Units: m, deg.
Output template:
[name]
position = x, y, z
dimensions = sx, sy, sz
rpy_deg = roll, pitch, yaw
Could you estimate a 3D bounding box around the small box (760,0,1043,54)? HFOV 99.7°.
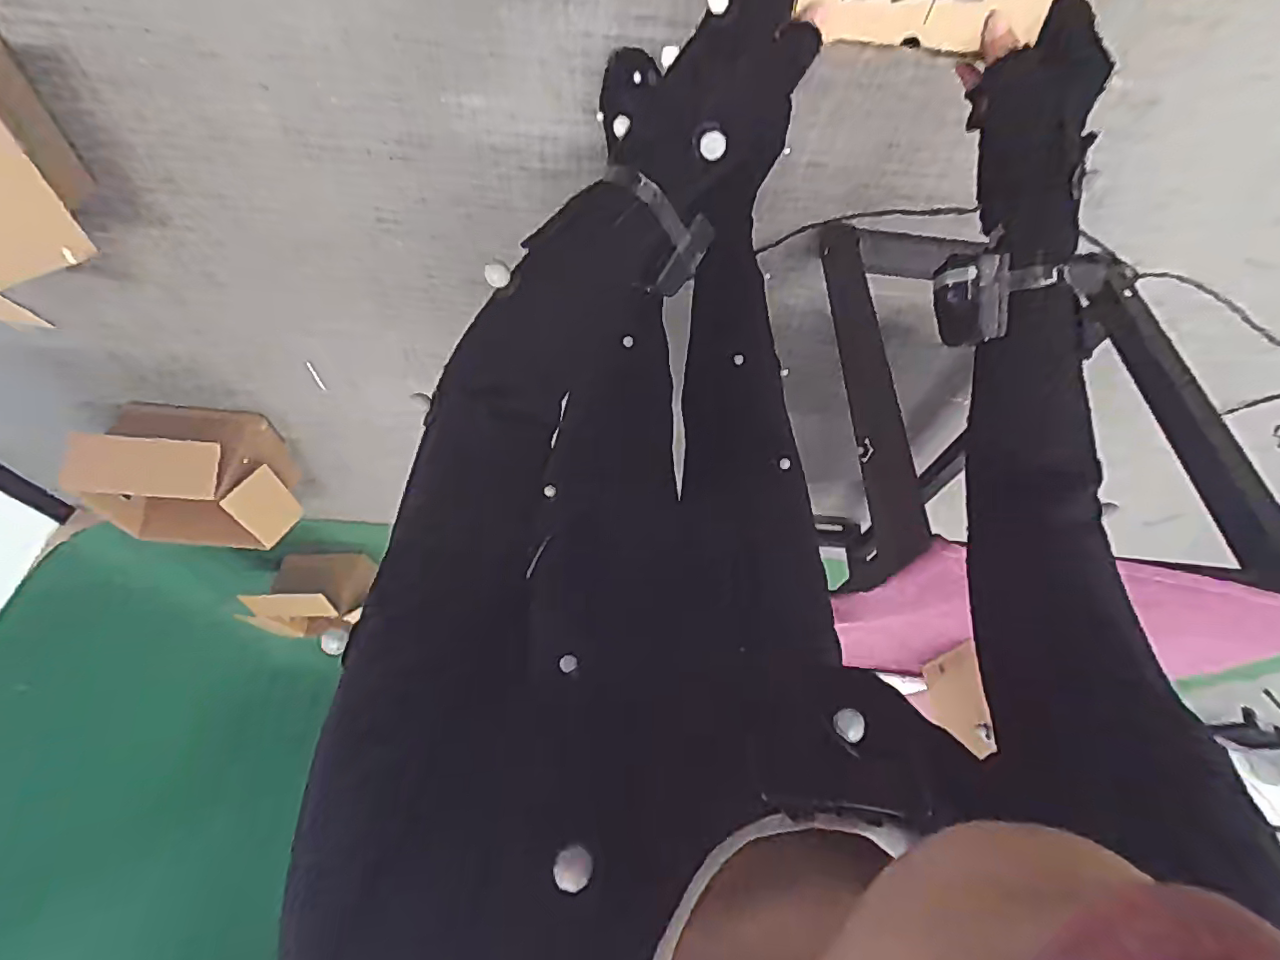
[small box]
position = 0.182, -0.410, 0.357
dimensions = 0.168, 0.176, 0.179
rpy_deg = 2, 133, -4
